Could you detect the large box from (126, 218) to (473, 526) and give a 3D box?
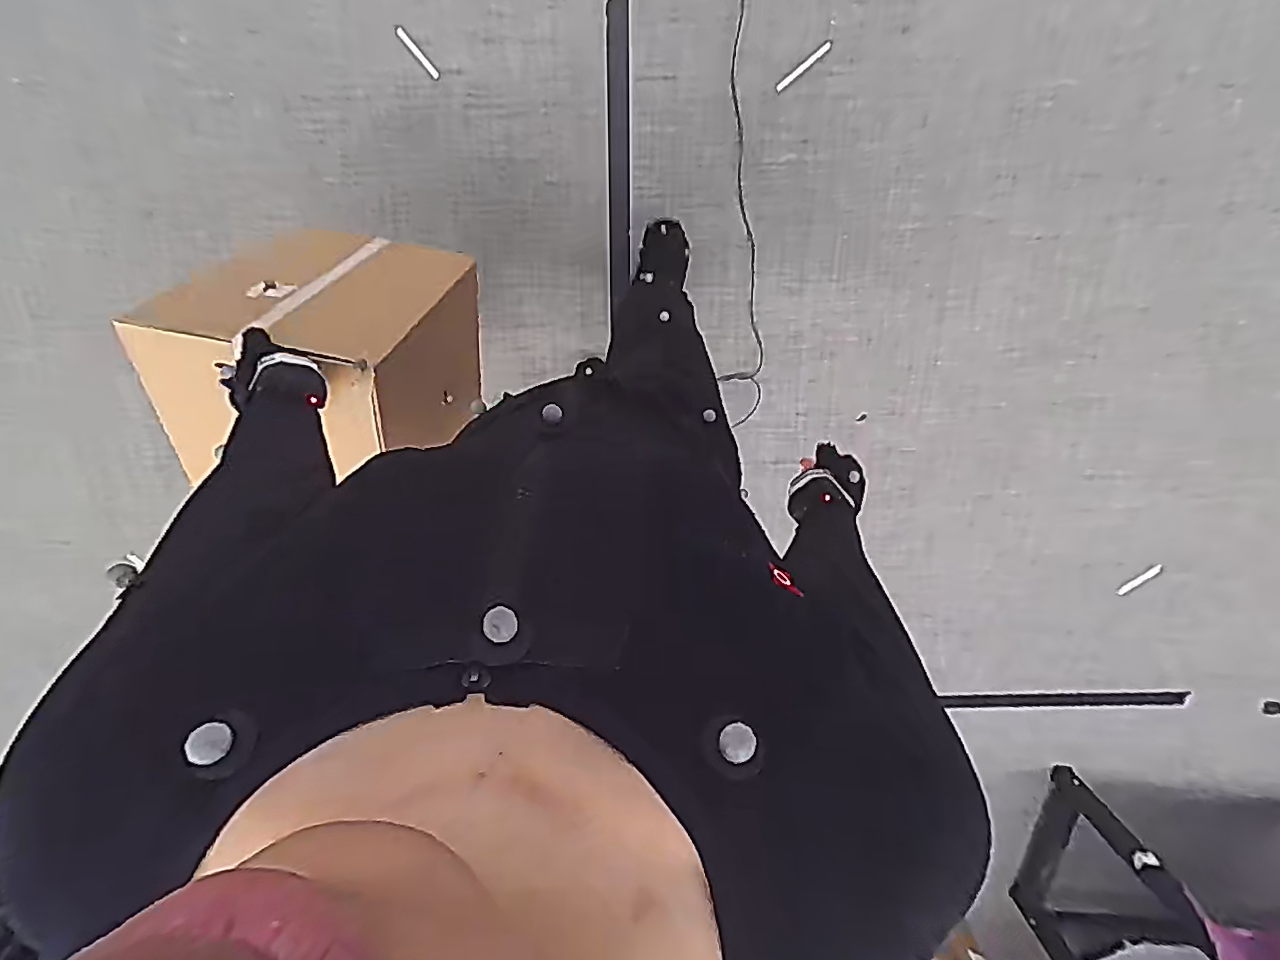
[{"bbox_3d":[-0.491,-0.190,0.910,0.320,0.408,0.320,11,132,-2],"label":"large box"}]
